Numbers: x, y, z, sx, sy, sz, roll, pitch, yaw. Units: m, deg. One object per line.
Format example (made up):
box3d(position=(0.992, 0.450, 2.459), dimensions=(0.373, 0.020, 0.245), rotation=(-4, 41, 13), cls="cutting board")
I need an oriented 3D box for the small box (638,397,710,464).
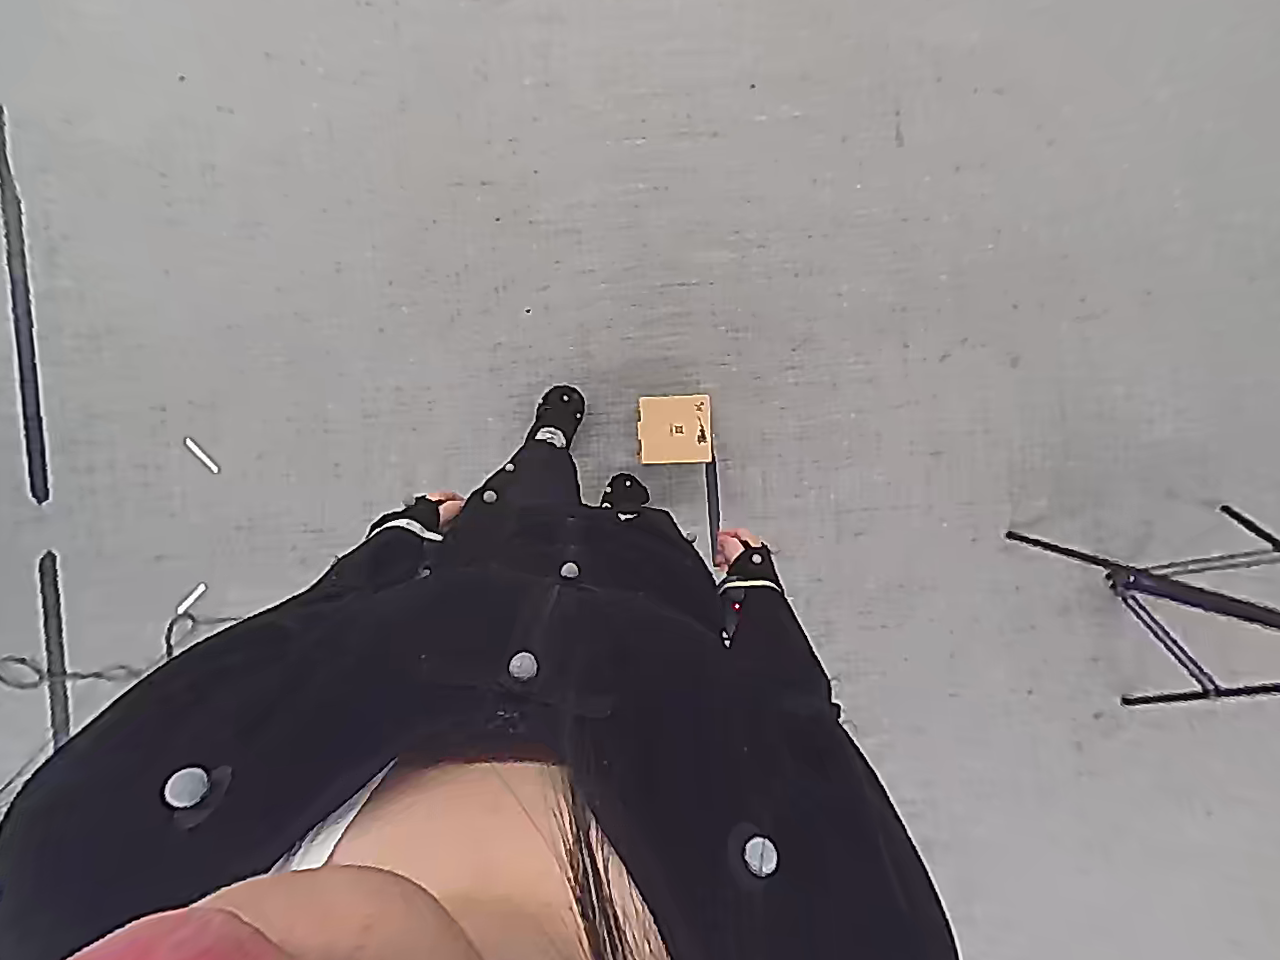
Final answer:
box3d(position=(0.086, -0.124, 1.401), dimensions=(0.179, 0.176, 0.168), rotation=(-1, 93, 0), cls="small box")
